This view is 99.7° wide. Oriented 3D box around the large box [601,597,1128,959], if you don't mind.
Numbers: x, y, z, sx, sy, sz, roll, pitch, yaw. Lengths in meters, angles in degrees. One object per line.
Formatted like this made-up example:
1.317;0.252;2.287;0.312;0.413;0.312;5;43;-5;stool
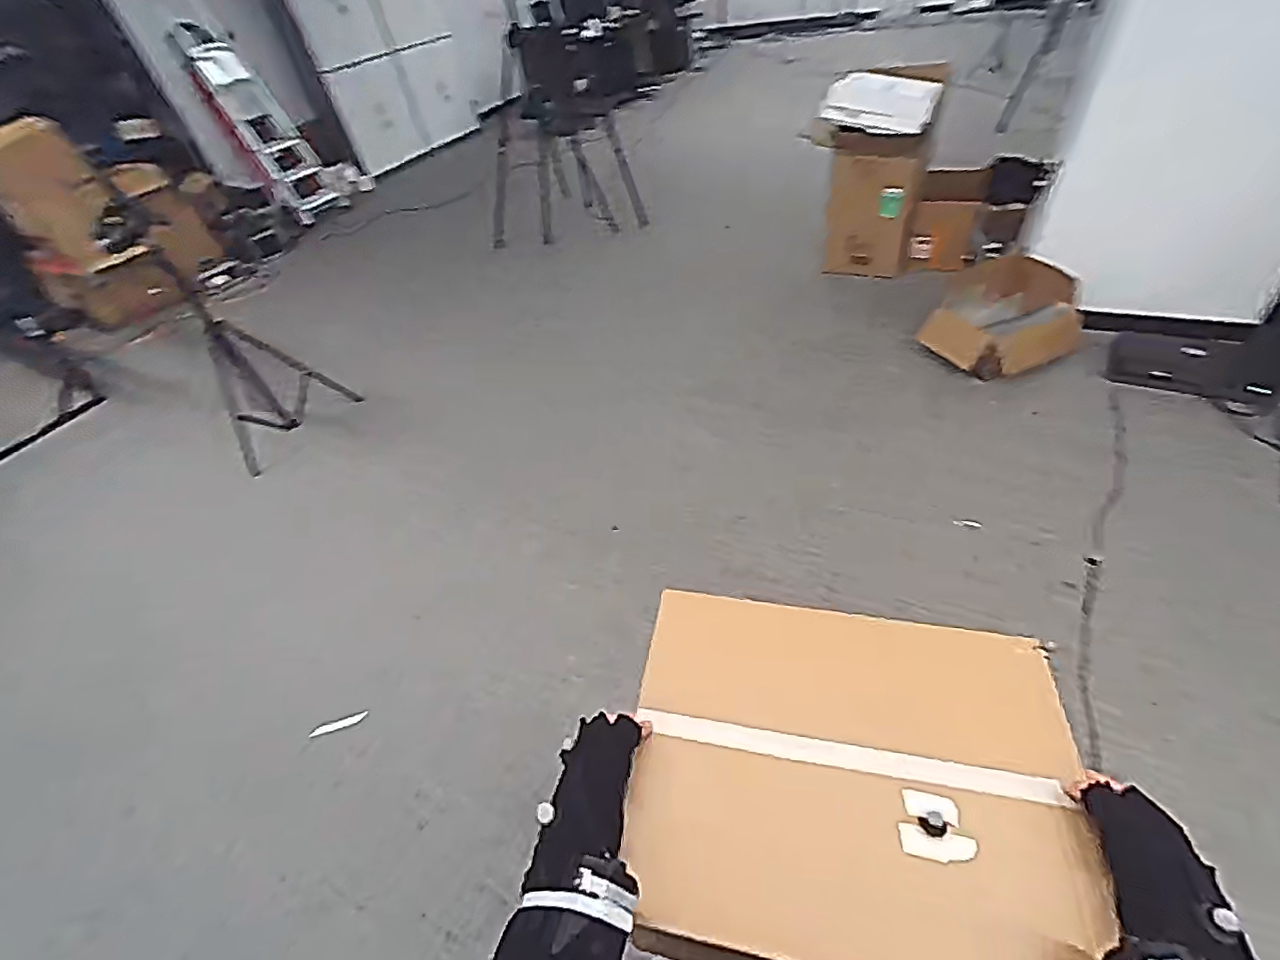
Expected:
0.195;0.367;0.615;0.408;0.320;0.320;5;46;11;large box
